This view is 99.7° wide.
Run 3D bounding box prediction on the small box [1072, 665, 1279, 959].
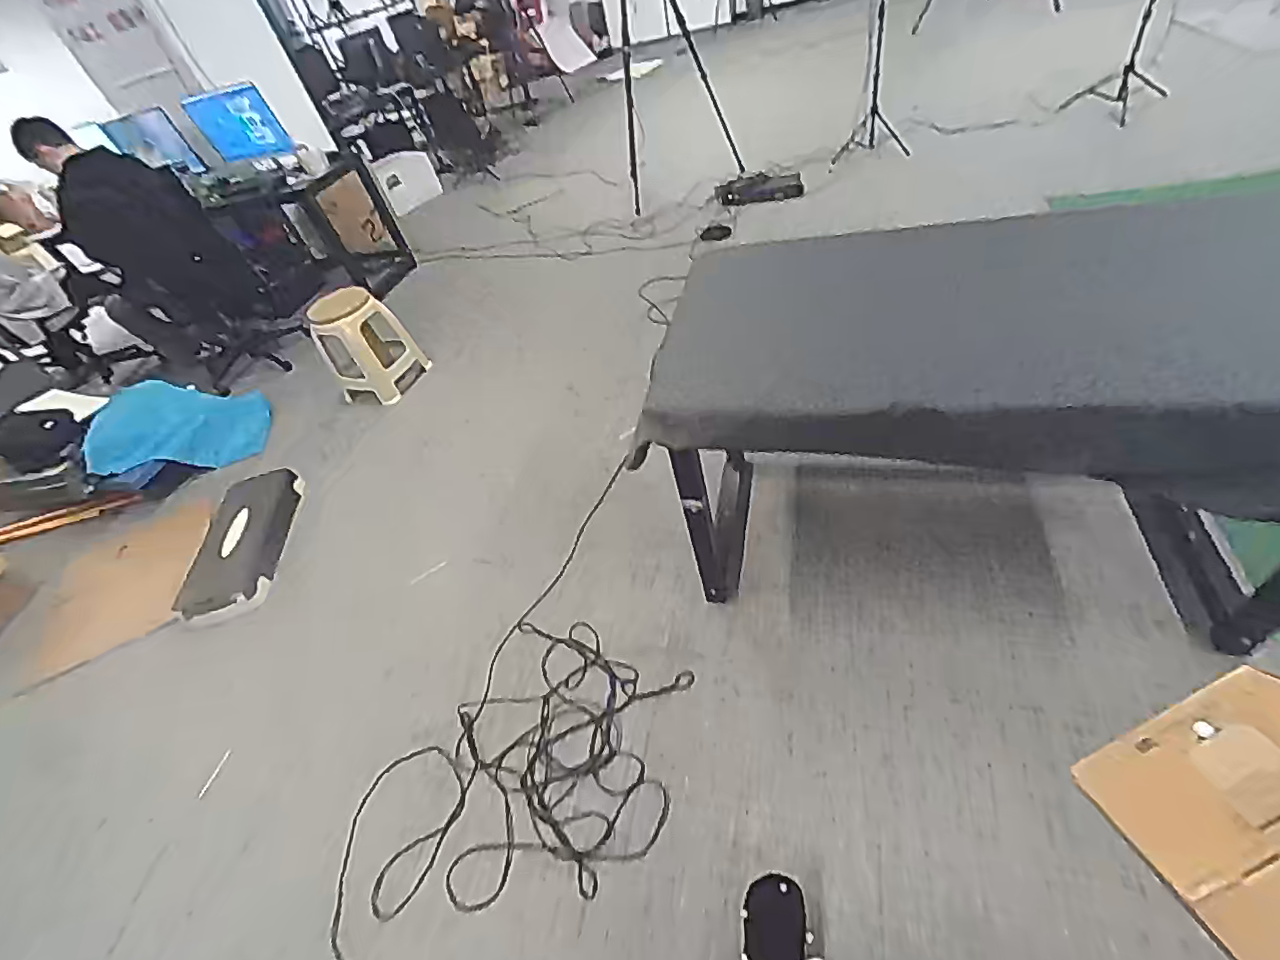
[{"bbox_3d":[0.463,0.260,0.368,0.168,0.176,0.179,-42,76,12],"label":"small box"}]
